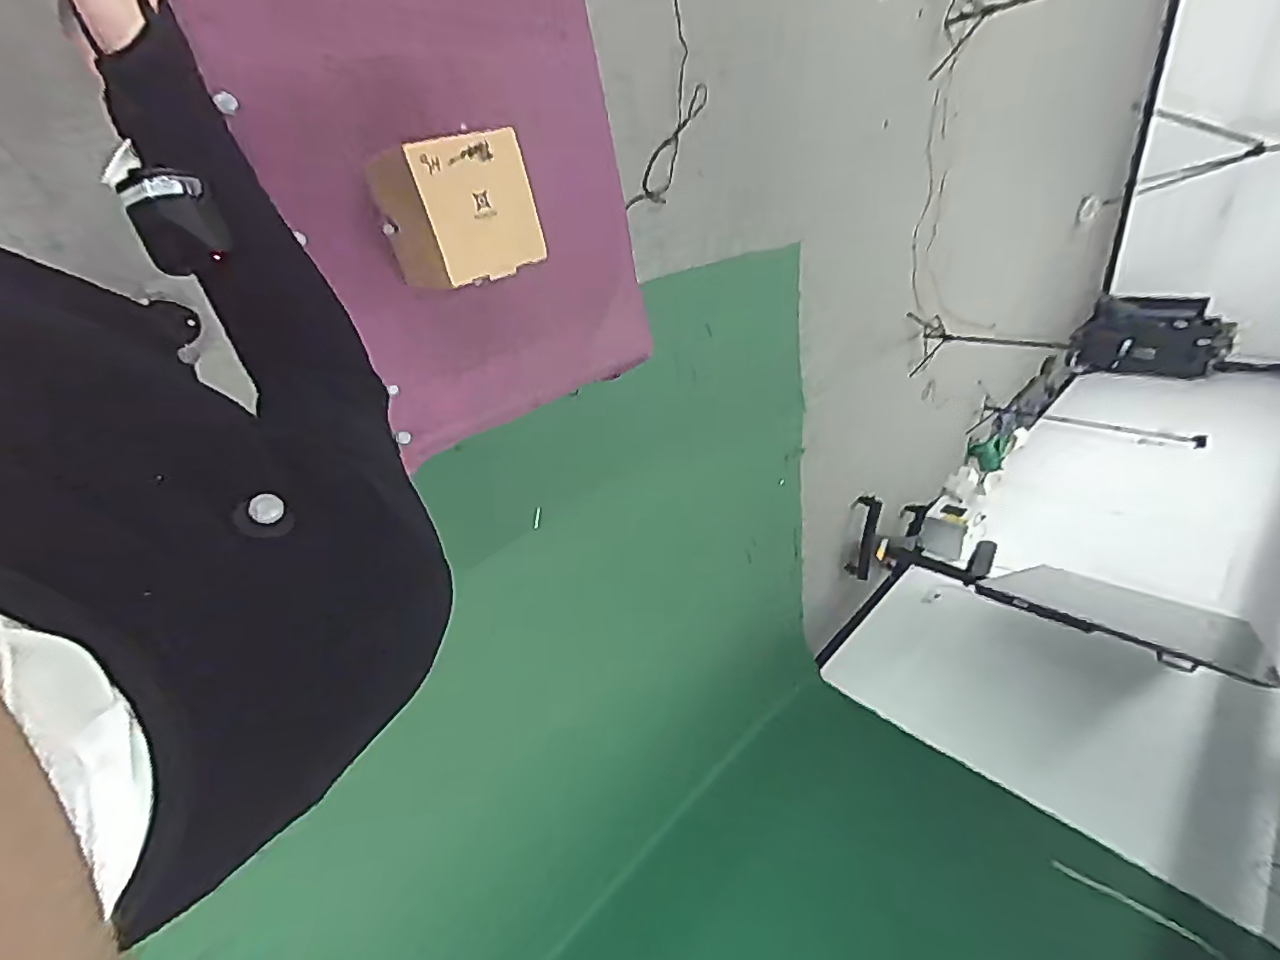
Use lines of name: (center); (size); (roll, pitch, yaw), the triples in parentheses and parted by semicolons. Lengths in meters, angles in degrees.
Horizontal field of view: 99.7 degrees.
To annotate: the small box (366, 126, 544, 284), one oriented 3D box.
small box: (-0.272, -0.403, 0.803); (0.168, 0.176, 0.179); (-32, 126, -31)
